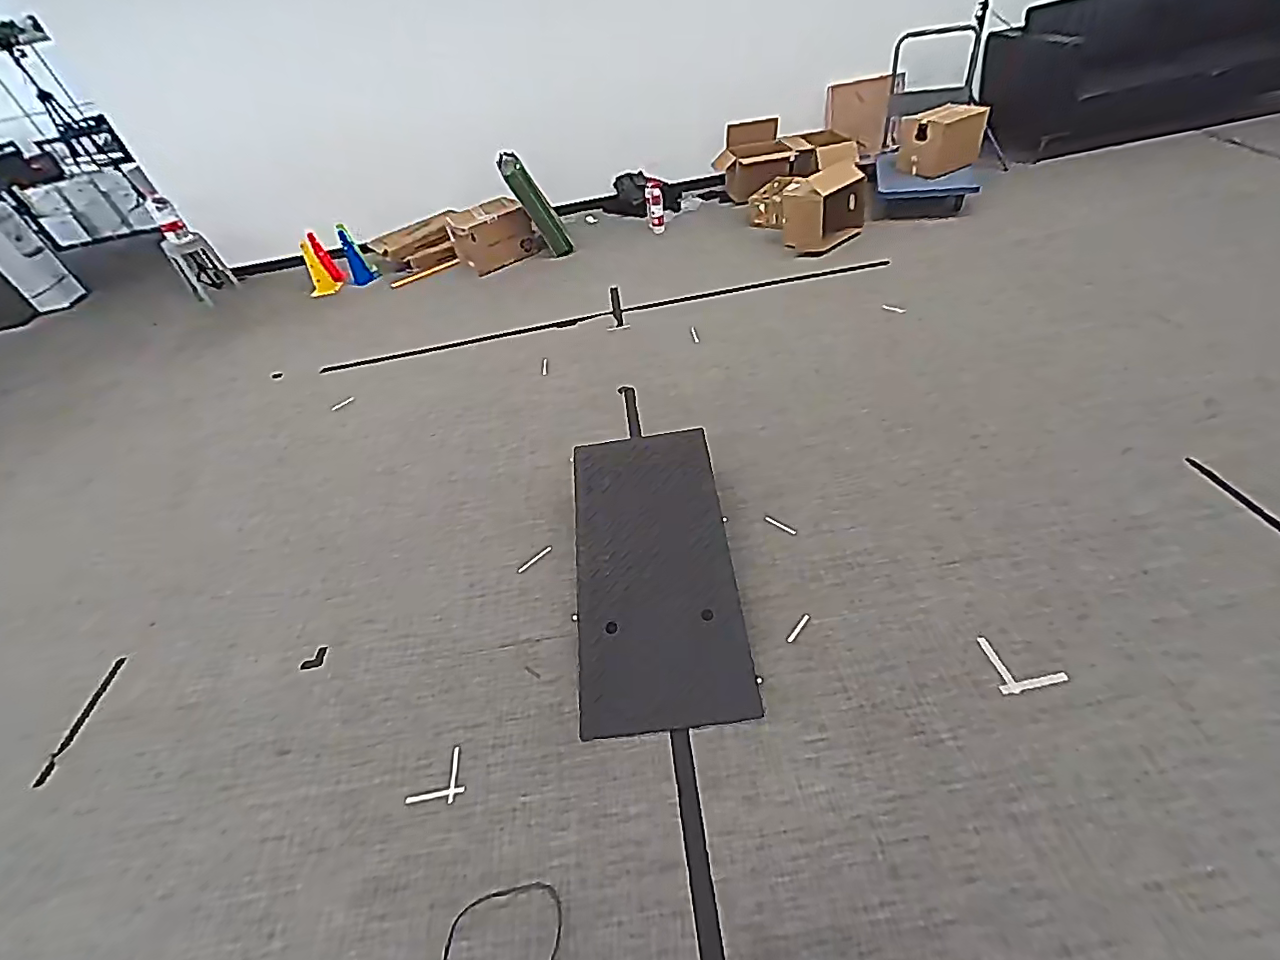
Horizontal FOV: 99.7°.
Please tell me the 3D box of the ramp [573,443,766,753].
[{"bbox_3d":[0.044,0.296,1.727,0.509,0.206,0.991,-10,43,0],"label":"ramp"}]
